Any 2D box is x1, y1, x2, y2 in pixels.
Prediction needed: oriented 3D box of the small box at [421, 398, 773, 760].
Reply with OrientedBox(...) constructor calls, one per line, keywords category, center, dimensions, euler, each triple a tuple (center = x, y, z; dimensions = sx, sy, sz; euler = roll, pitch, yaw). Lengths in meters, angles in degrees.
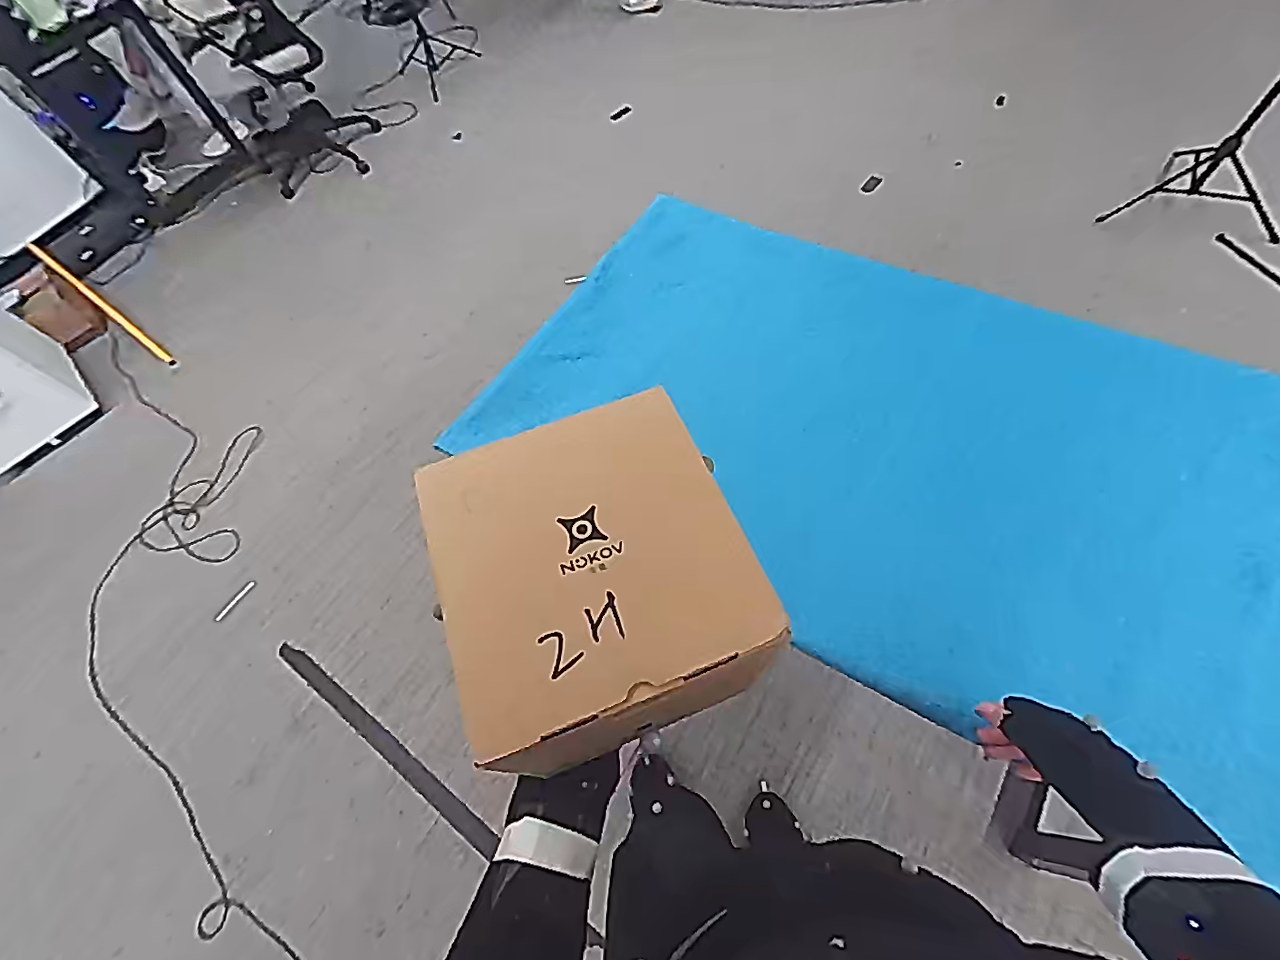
OrientedBox(category="small box", center=(-0.030, 0.077, 0.372), dimensions=(0.168, 0.176, 0.179), euler=(-17, 63, -5))
